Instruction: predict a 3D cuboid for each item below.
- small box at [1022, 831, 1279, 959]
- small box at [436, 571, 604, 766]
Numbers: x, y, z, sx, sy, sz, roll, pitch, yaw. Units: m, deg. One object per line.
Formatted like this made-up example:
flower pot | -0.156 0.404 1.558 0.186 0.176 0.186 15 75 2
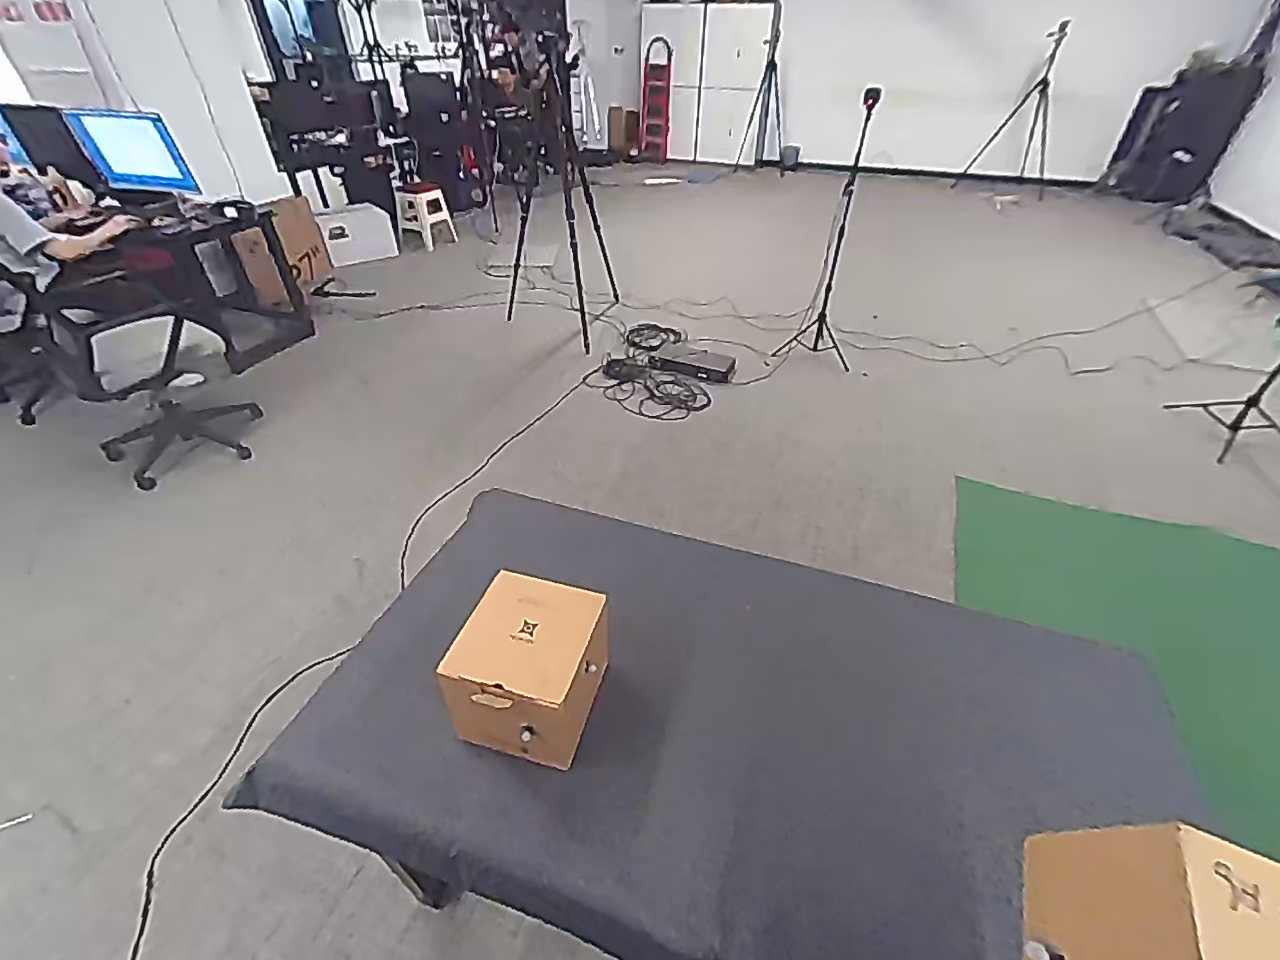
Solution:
small box | 0.382 0.362 0.350 0.168 0.176 0.179 20 57 11
small box | -0.152 0.262 0.753 0.168 0.176 0.179 12 38 10
